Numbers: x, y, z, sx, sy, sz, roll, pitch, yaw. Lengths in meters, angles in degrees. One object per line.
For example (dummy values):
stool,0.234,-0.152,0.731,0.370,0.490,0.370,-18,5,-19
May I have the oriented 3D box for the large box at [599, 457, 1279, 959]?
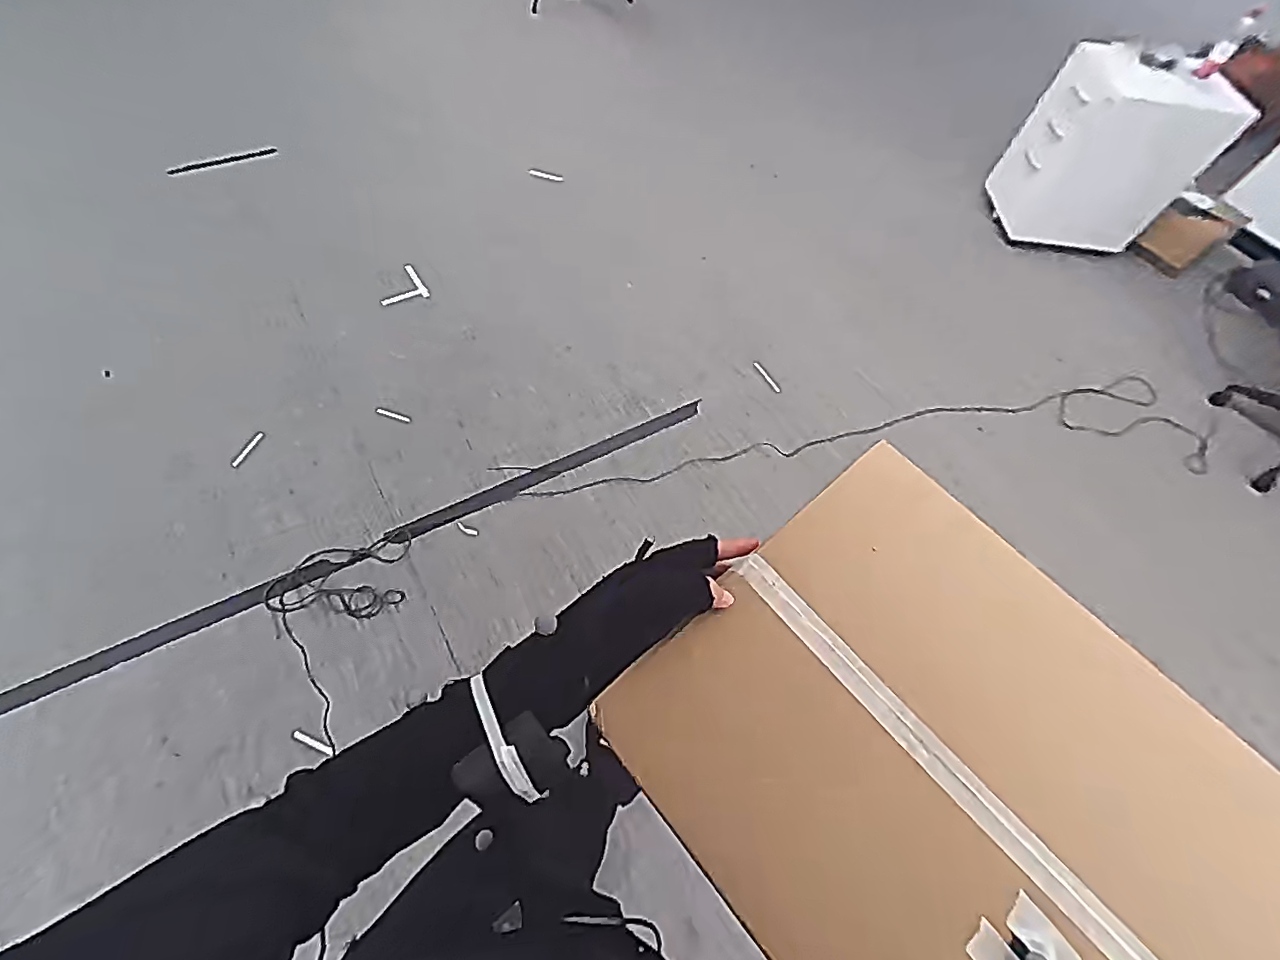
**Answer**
large box,0.214,0.260,0.496,0.320,0.320,0.408,-39,71,-12
